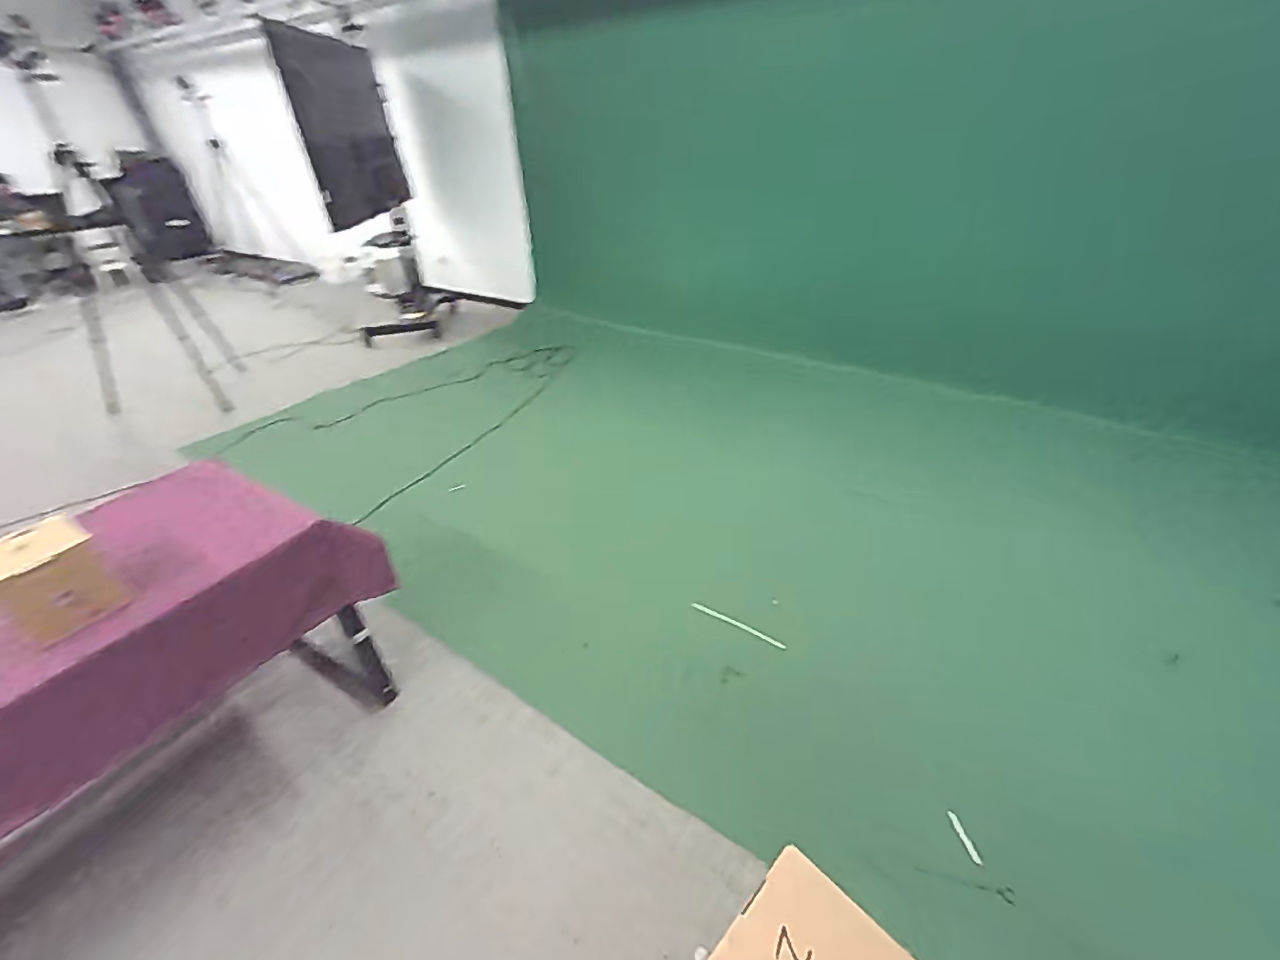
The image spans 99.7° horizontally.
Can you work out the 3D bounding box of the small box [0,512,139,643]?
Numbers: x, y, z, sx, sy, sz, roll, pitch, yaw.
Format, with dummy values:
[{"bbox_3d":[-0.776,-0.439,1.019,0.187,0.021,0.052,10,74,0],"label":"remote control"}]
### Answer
[{"bbox_3d":[-1.174,0.197,1.089,0.179,0.176,0.168,19,40,28],"label":"small box"}]
